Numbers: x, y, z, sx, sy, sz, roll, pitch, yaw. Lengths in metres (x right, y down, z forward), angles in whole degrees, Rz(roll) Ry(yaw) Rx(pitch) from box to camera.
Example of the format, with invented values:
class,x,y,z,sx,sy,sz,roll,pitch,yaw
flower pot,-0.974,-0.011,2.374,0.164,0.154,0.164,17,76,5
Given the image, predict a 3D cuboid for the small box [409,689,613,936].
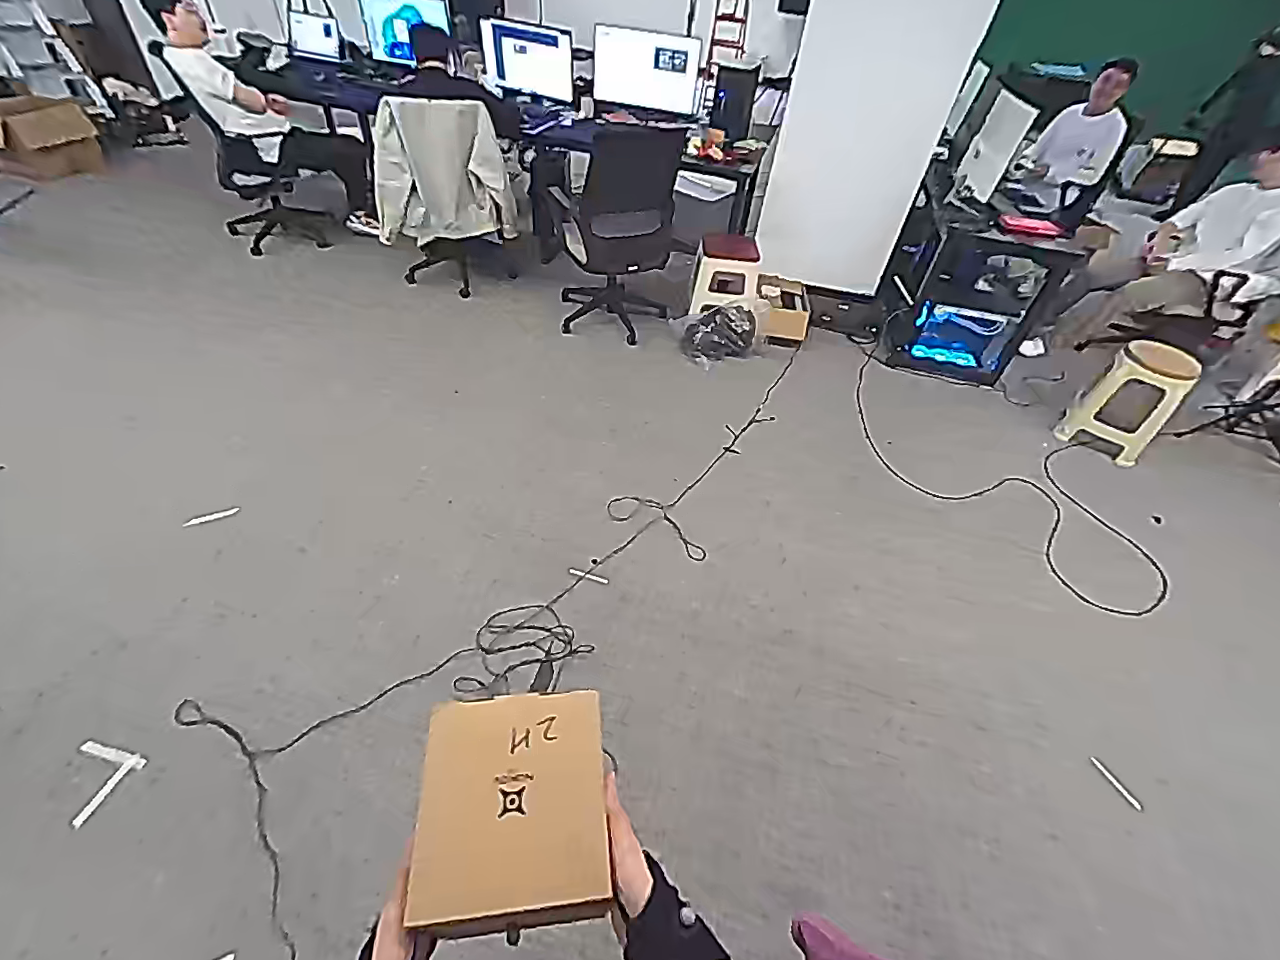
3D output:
class,x,y,z,sx,sy,sz,roll,pitch,yaw
small box,-0.116,0.335,0.545,0.168,0.176,0.179,-3,47,-9
